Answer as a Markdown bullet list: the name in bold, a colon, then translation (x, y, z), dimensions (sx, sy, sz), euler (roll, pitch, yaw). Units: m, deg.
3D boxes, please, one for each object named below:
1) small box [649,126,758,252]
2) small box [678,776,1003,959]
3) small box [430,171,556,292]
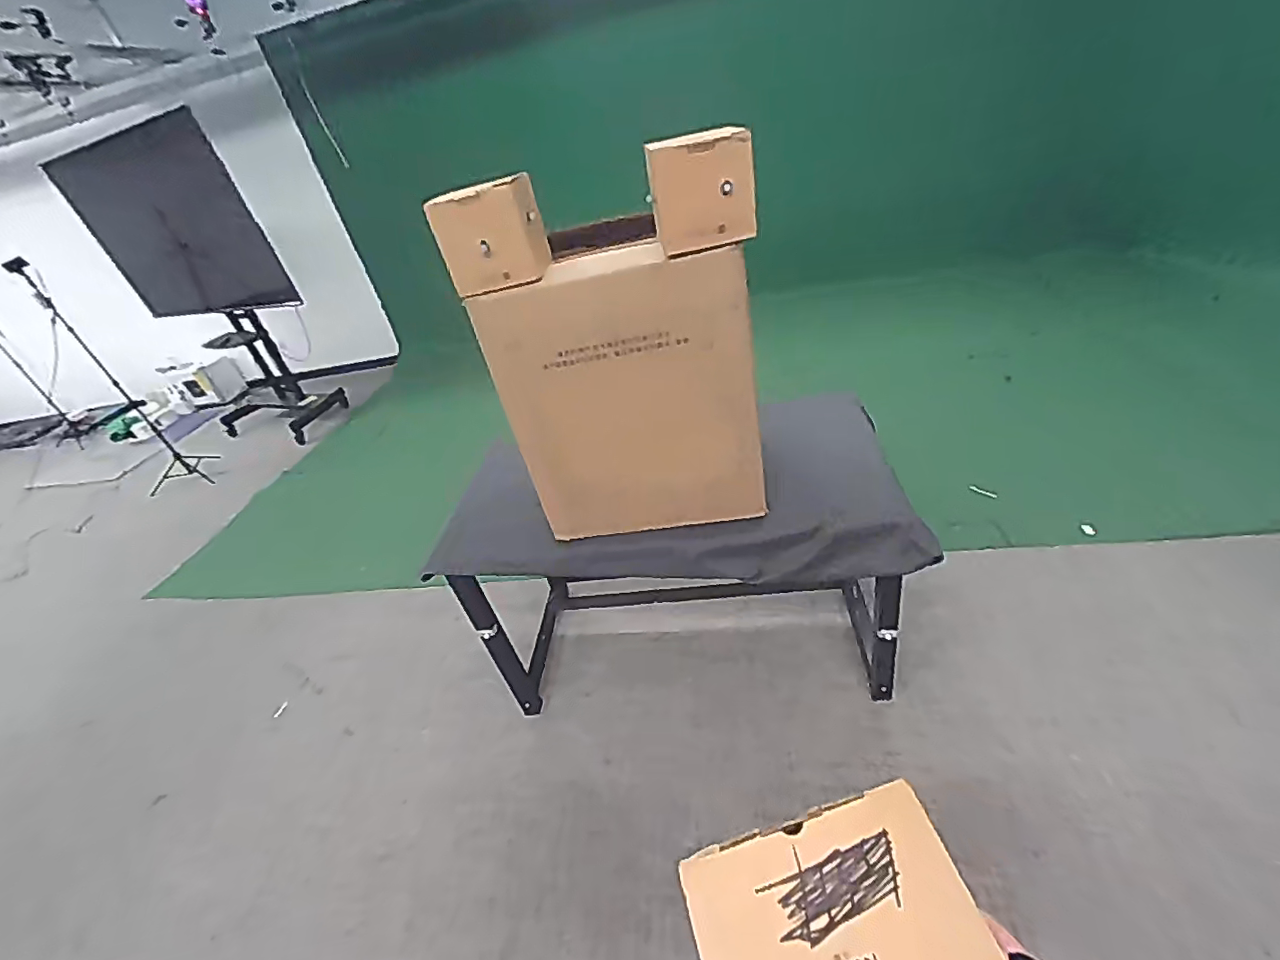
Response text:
- **small box**: translation (0.114, -0.524, 0.980), dimensions (0.168, 0.176, 0.179), euler (-9, 34, 3)
- **small box**: translation (0.141, 0.336, 0.362), dimensions (0.168, 0.176, 0.179), euler (-22, 46, 1)
- **small box**: translation (-0.274, -0.480, 1.056), dimensions (0.168, 0.176, 0.179), euler (-10, 35, 8)
